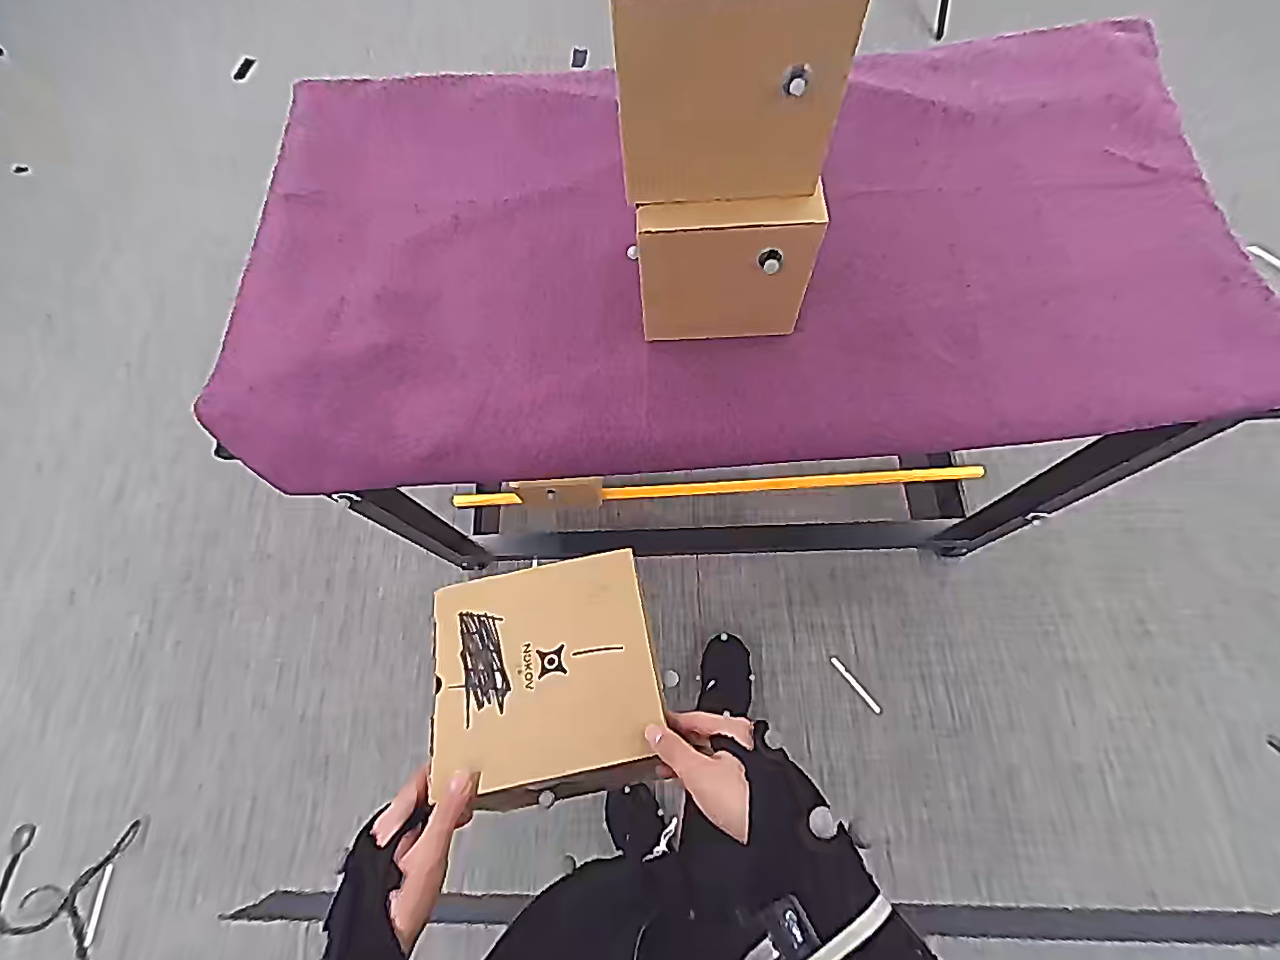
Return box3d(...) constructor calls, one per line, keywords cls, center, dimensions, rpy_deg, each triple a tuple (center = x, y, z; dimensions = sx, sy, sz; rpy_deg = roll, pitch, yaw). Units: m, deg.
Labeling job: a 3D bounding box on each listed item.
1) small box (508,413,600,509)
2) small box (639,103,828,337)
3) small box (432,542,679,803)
box3d(cls="small box", center=(-0.180, -0.037, 1.190), dimensions=(0.179, 0.176, 0.168), rpy_deg=(-3, 71, 2))
box3d(cls="small box", center=(0.089, -0.276, 0.599), dimensions=(0.179, 0.176, 0.168), rpy_deg=(-2, 68, 3))
box3d(cls="small box", center=(-0.067, 0.181, 0.489), dimensions=(0.179, 0.176, 0.168), rpy_deg=(-11, 56, -2))
